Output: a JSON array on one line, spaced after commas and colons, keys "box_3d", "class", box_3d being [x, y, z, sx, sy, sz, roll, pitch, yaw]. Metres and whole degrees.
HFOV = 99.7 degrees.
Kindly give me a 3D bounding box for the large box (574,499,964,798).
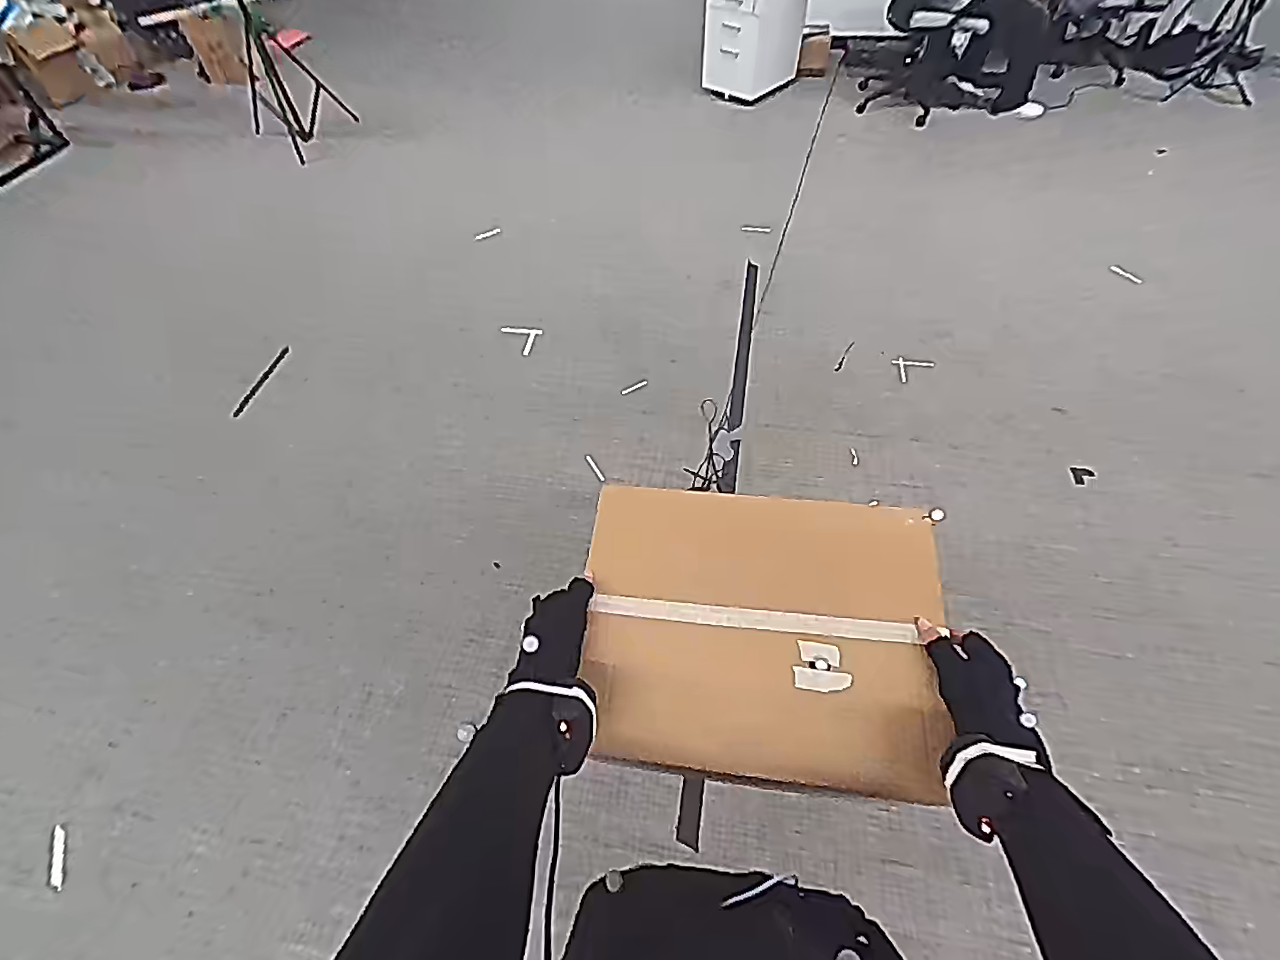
[{"box_3d": [0.148, 0.242, 0.752, 0.408, 0.320, 0.320, 4, 62, 7], "class": "large box"}]
